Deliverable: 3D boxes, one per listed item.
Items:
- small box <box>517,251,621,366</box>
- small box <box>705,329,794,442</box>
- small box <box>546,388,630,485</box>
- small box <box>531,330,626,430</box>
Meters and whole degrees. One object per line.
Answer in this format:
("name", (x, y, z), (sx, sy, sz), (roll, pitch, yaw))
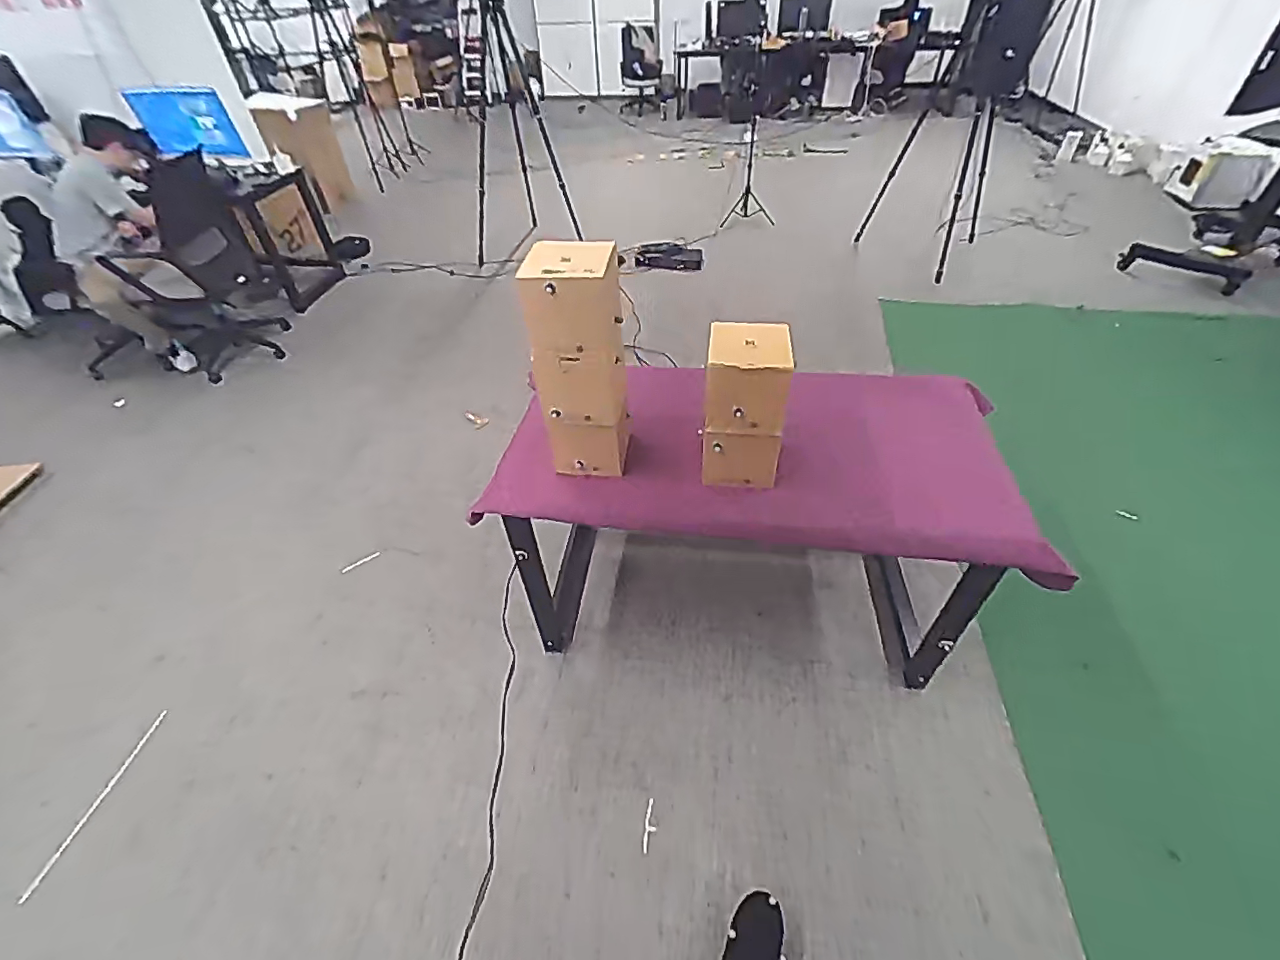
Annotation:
("small box", (-0.133, -0.348, 1.090), (0.168, 0.176, 0.179), (2, 42, 7))
("small box", (0.226, -0.202, 1.151), (0.168, 0.176, 0.179), (3, 44, 7))
("small box", (-0.117, -0.110, 1.315), (0.168, 0.176, 0.179), (3, 44, 7))
("small box", (-0.126, -0.224, 1.197), (0.168, 0.176, 0.179), (2, 42, 7))
